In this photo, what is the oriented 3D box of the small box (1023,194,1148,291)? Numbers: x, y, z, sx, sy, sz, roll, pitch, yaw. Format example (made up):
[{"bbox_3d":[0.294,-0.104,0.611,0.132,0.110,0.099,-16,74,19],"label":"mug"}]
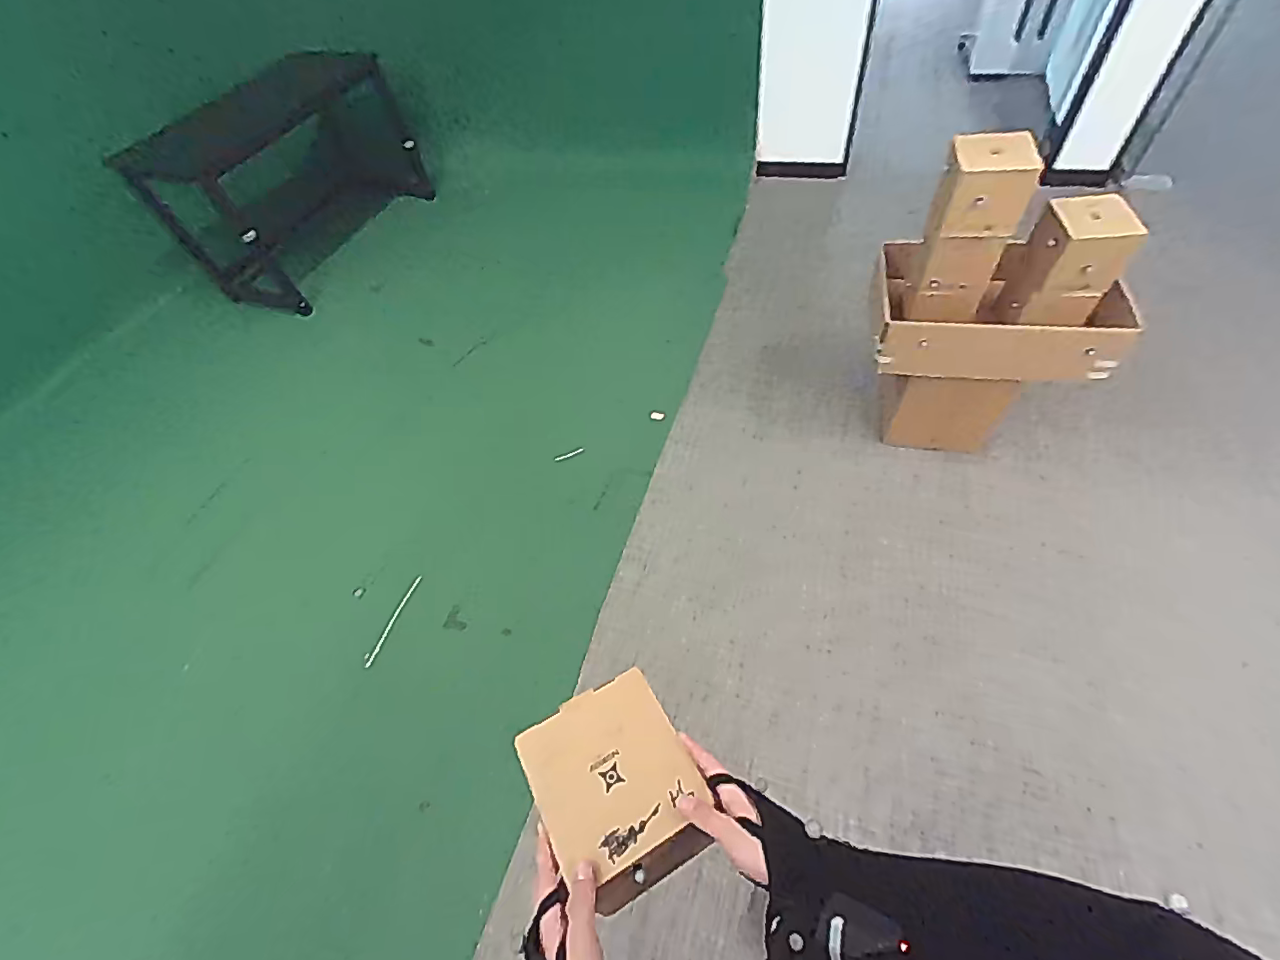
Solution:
[{"bbox_3d":[1.128,-0.602,1.387,0.168,0.176,0.179,1,57,8],"label":"small box"}]

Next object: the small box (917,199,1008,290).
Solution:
[{"bbox_3d":[0.855,-0.628,1.447,0.168,0.176,0.179,7,56,14],"label":"small box"}]

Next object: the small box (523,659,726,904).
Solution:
[{"bbox_3d":[-0.015,0.352,0.632,0.168,0.176,0.179,-26,49,-13],"label":"small box"}]

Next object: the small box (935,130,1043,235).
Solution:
[{"bbox_3d":[0.835,-0.715,1.312,0.168,0.176,0.179,5,56,13],"label":"small box"}]
